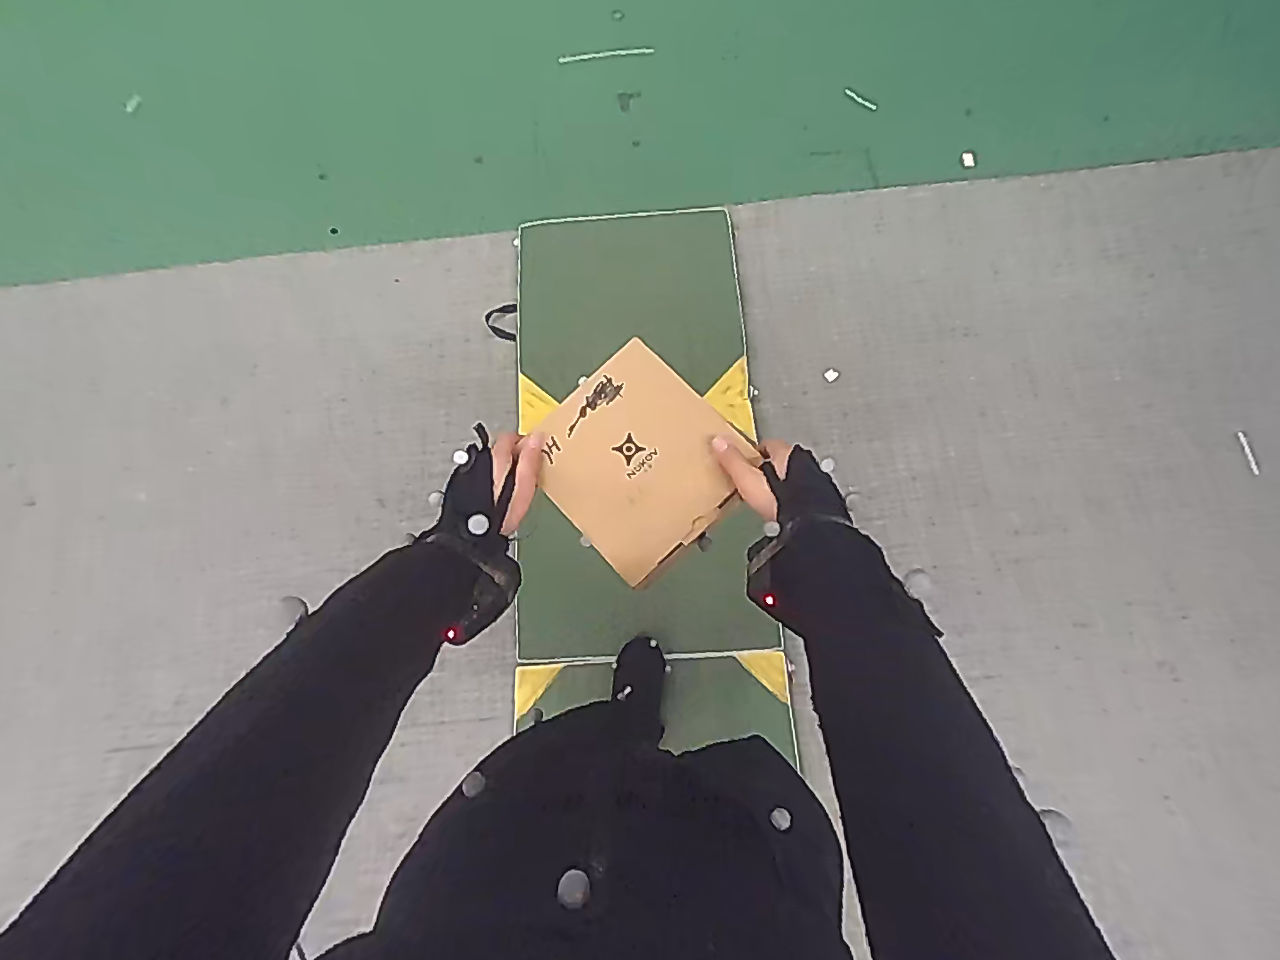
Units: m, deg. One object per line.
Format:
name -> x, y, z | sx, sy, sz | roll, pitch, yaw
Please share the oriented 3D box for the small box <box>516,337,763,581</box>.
small box -> 0.005, -0.011, 0.579 | 0.168, 0.176, 0.179 | -43, 78, -5
